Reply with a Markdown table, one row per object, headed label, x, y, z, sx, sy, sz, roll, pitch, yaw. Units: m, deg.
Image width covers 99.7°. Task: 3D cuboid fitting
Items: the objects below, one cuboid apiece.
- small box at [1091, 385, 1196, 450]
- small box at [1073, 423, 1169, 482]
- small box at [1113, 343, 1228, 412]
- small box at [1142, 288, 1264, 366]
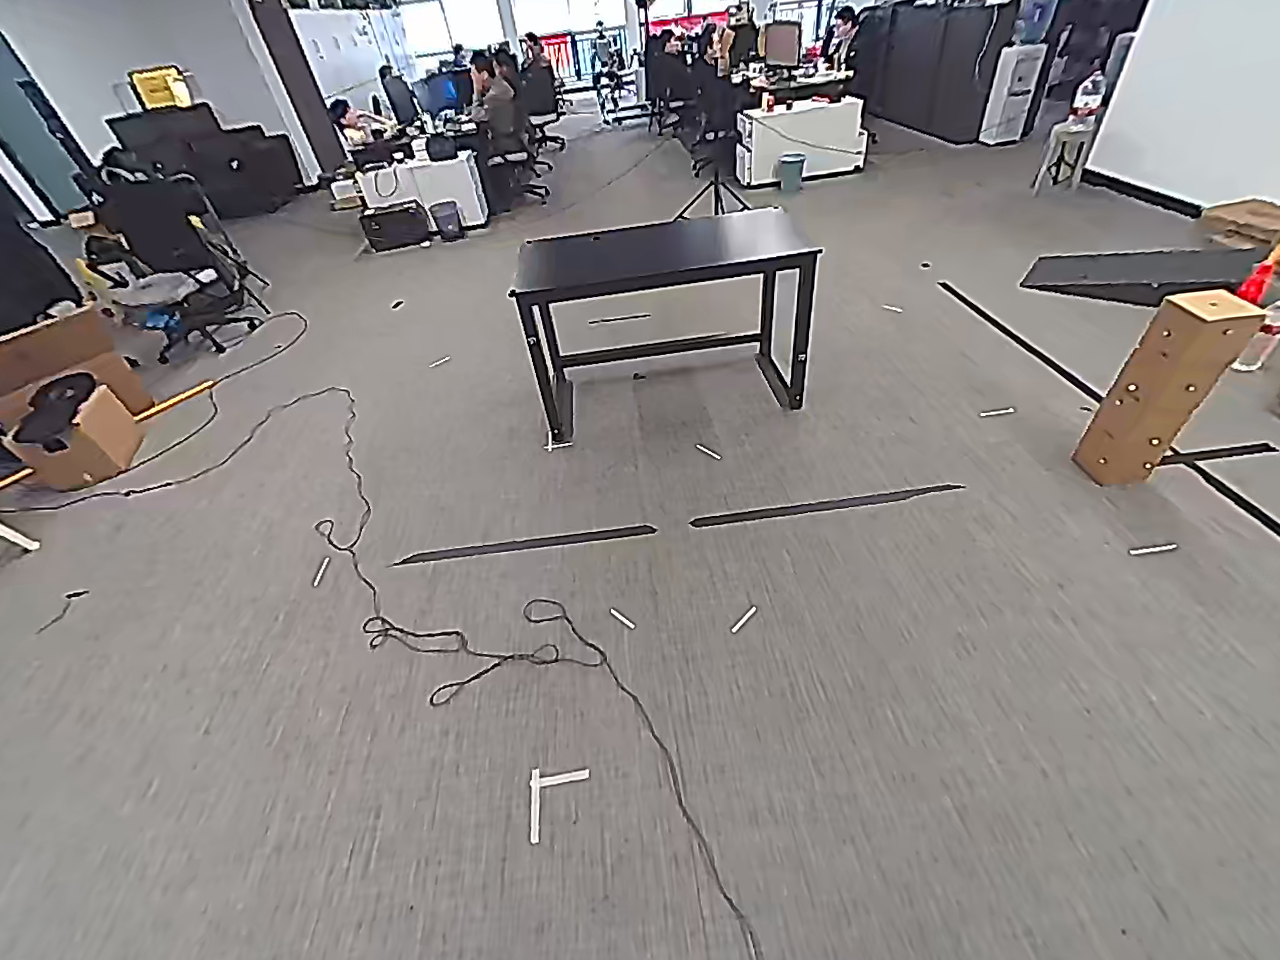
| label | x | y | z | sx | sy | sz | roll | pitch | yaw |
| --- | --- | --- | --- | --- | --- | --- | --- | --- | --- |
| small box | 1.735 | -0.226 | 1.878 | 0.179 | 0.176 | 0.168 | -9 | 42 | -1 |
| small box | 1.756 | -0.107 | 1.988 | 0.168 | 0.176 | 0.179 | -8 | 40 | 0 |
| small box | 1.717 | -0.344 | 1.765 | 0.179 | 0.176 | 0.168 | -10 | 42 | -1 |
| small box | 1.700 | -0.463 | 1.652 | 0.179 | 0.176 | 0.168 | -6 | 42 | 2 |
